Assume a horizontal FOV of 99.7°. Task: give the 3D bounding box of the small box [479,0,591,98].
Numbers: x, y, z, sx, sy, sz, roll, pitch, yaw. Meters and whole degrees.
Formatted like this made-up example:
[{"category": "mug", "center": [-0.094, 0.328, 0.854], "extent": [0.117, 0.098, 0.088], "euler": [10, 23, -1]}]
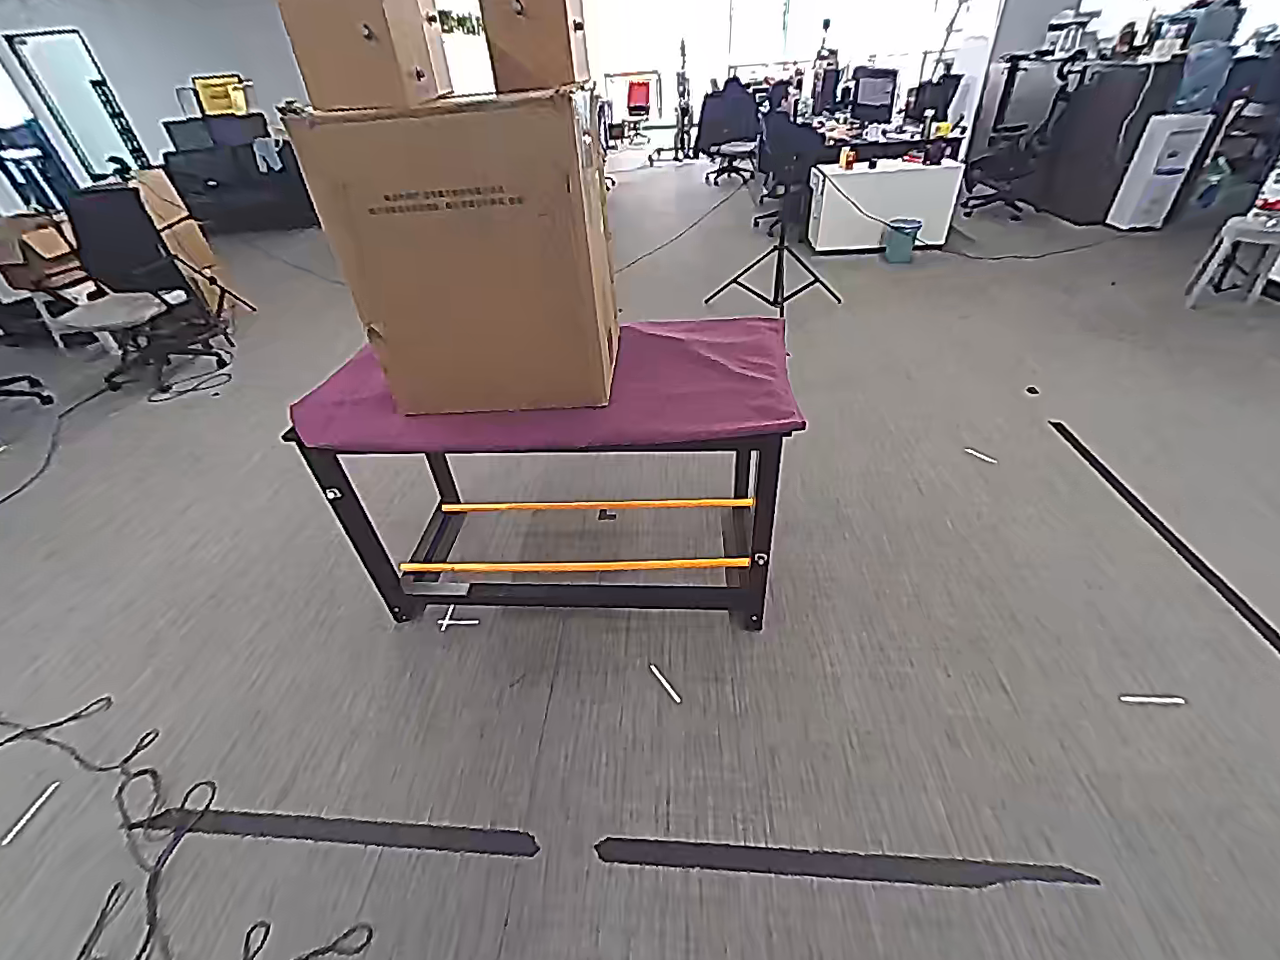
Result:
[{"category": "small box", "center": [-0.206, -0.908, 1.120], "extent": [0.179, 0.176, 0.168], "euler": [1, 38, 9]}]
